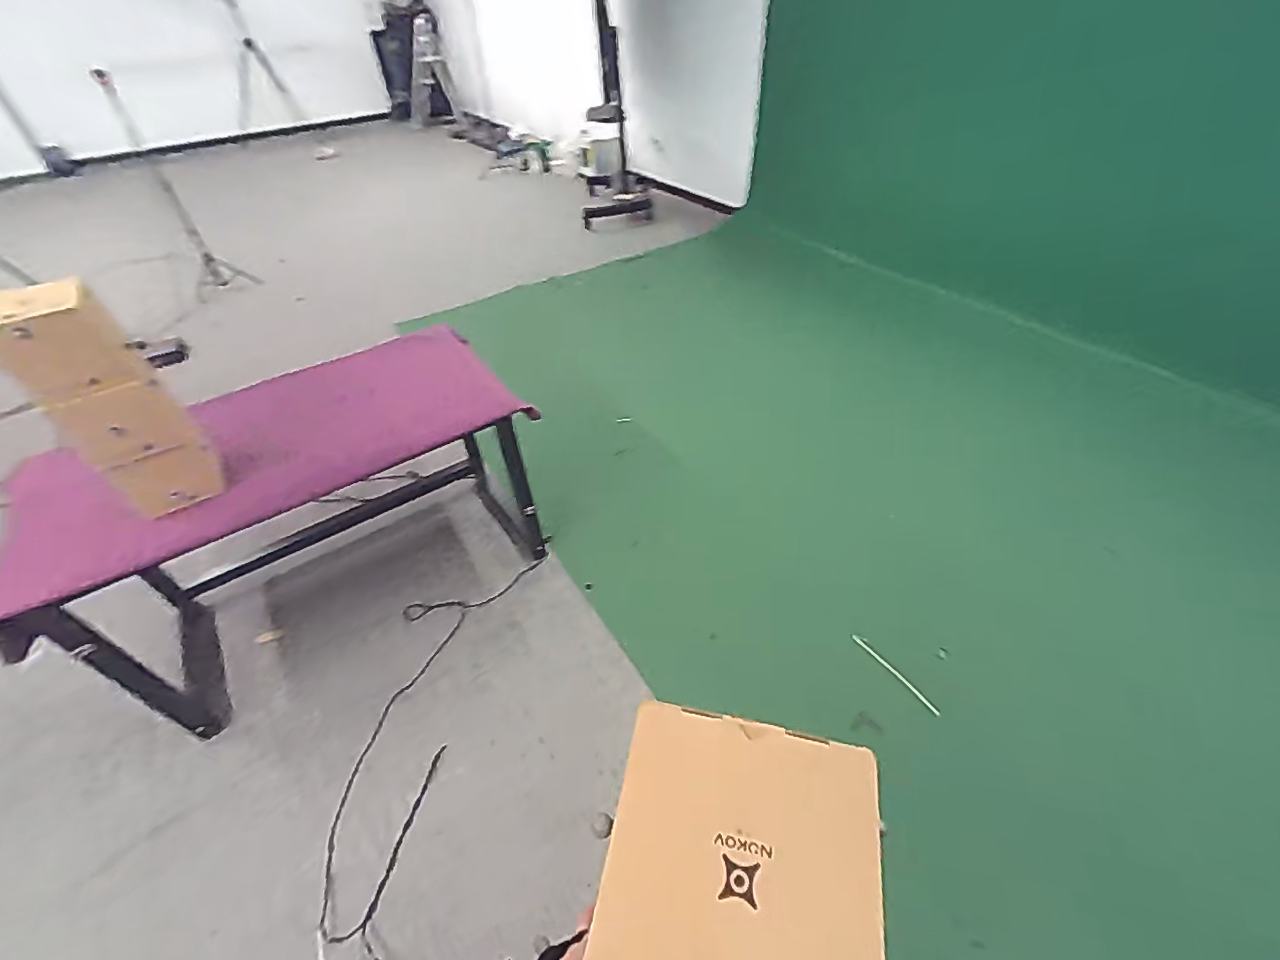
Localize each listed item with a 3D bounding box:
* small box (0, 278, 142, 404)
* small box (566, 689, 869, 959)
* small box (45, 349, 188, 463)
[{"bbox_3d":[-1.156,-0.281,1.091,0.168,0.176,0.179,-27,49,-23],"label":"small box"},{"bbox_3d":[0.056,0.280,0.389,0.168,0.176,0.179,8,50,9],"label":"small box"},{"bbox_3d":[-1.145,-0.157,1.199,0.168,0.176,0.179,-25,48,-22],"label":"small box"}]
